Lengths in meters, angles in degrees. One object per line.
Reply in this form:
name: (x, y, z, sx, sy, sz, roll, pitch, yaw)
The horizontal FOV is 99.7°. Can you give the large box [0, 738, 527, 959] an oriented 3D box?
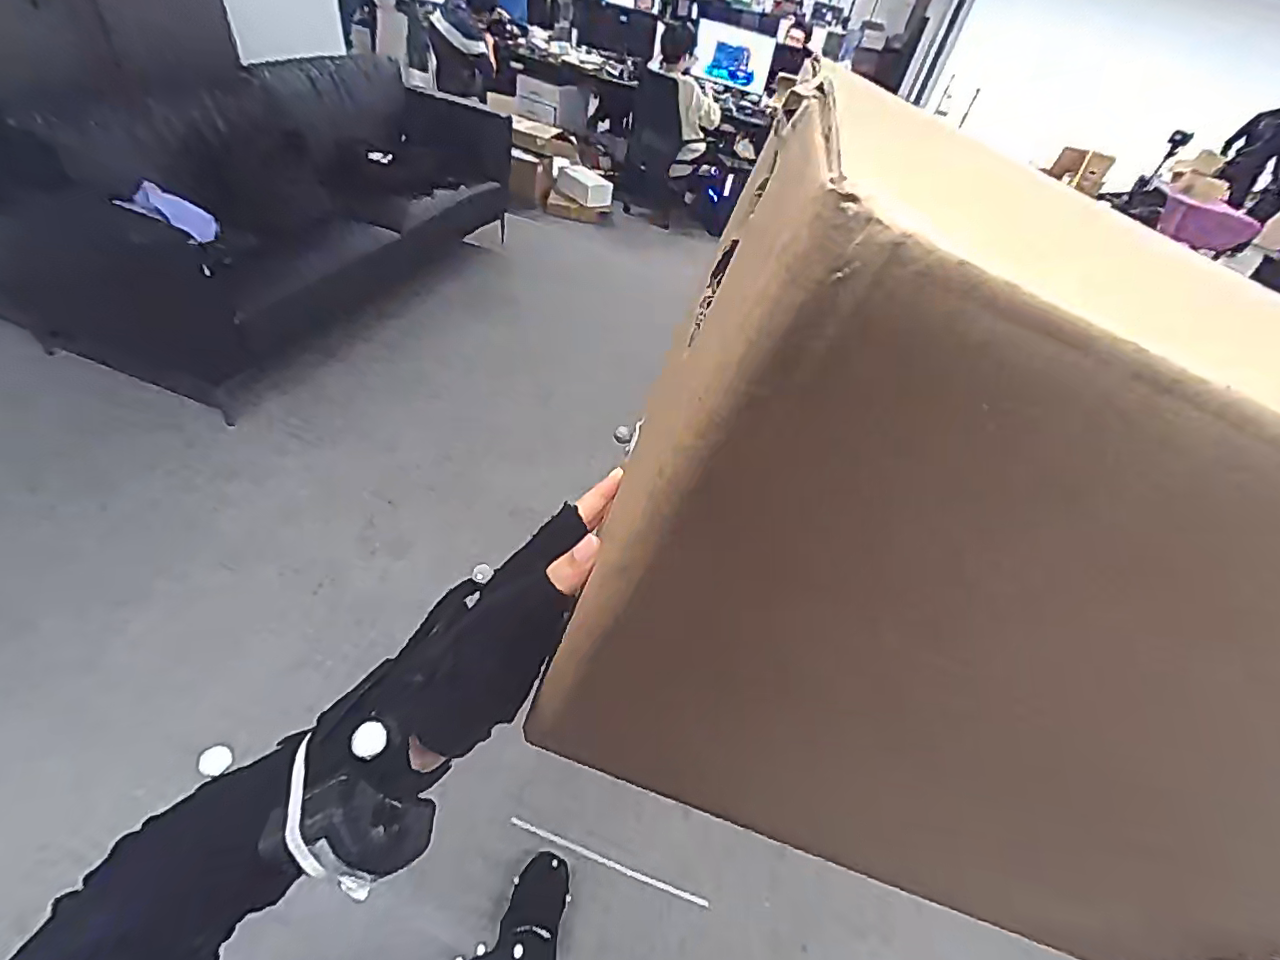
large box: (-0.227, 0.418, 0.270, 0.320, 0.320, 0.408, -20, 95, -46)
